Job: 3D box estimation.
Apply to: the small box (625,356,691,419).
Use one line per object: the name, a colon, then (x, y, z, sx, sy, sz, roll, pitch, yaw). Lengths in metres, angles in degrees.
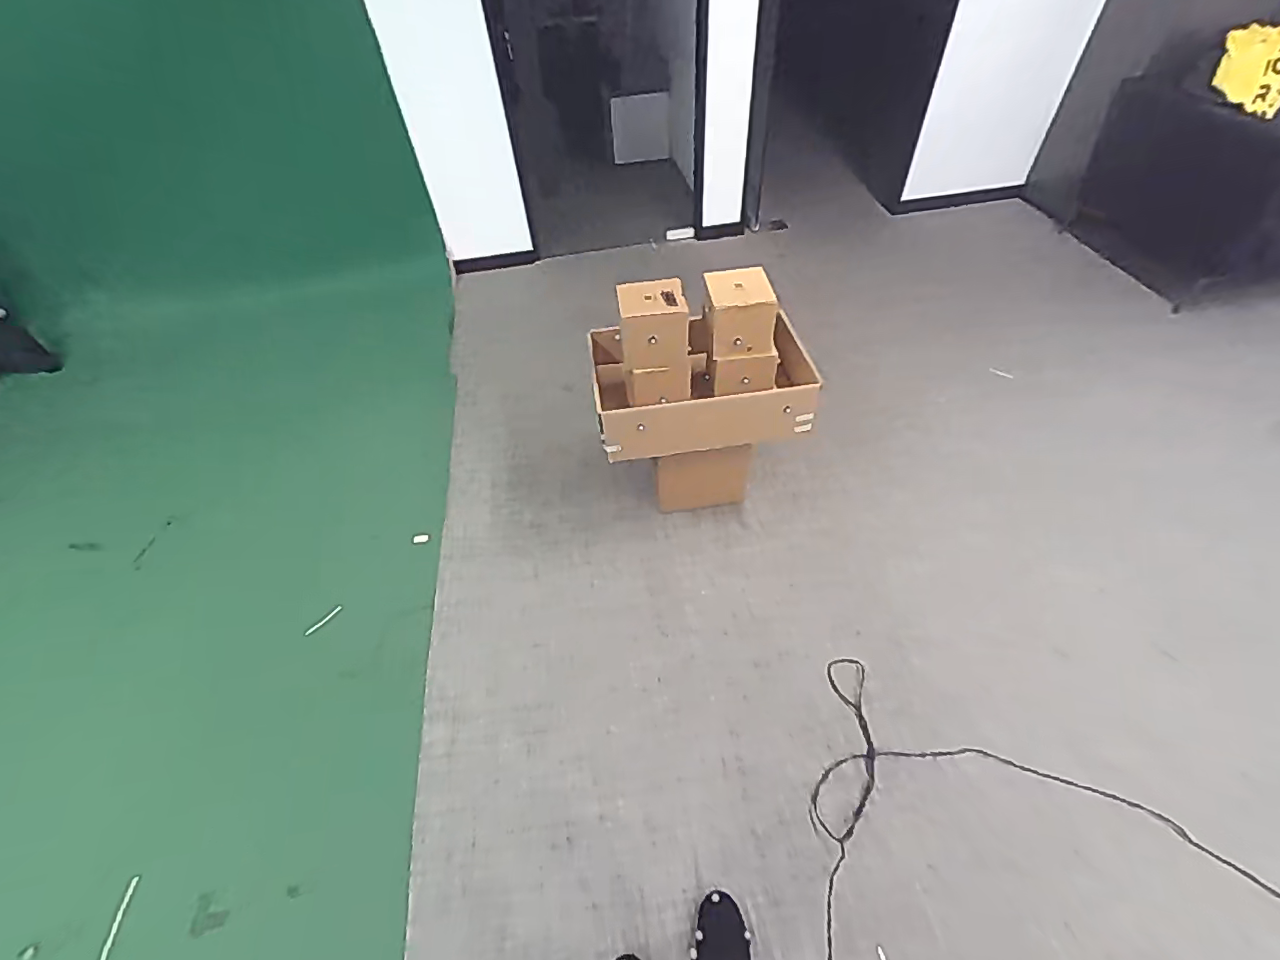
small box: (0.048, -0.308, 1.601, 0.168, 0.176, 0.179, -11, 49, -6)

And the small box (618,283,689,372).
small box: (0.035, -0.413, 1.477, 0.179, 0.176, 0.168, -6, 48, -1)

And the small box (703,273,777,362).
small box: (0.268, -0.449, 1.496, 0.168, 0.176, 0.179, -6, 49, -1)
